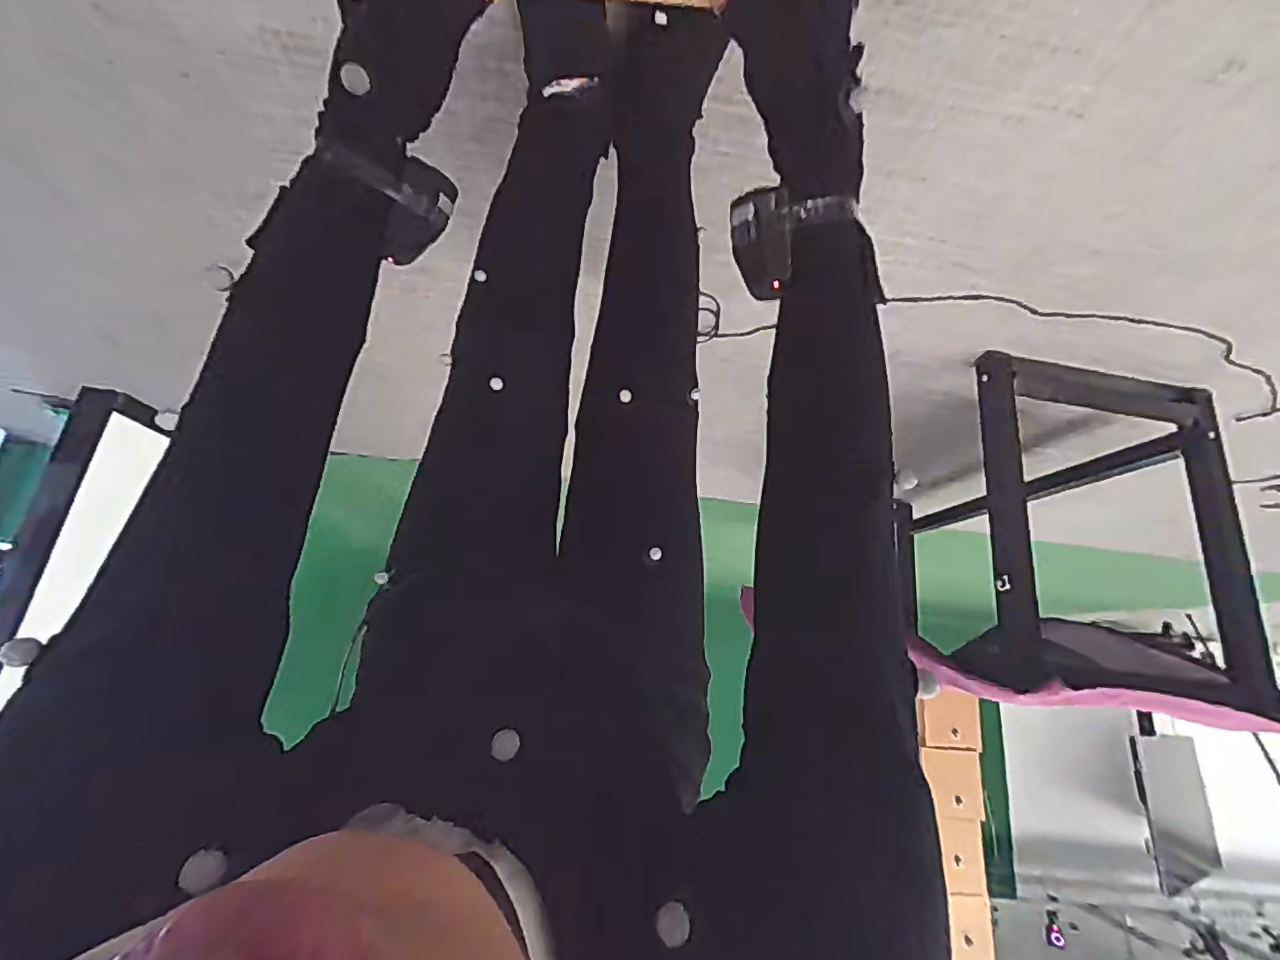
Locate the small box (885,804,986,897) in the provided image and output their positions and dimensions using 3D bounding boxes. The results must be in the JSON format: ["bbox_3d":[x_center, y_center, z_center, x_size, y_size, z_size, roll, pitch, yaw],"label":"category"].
[{"bbox_3d":[0.778,0.978,1.442,0.179,0.176,0.168,8,162,-9],"label":"small box"}]

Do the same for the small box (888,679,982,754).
[{"bbox_3d":[0.837,0.672,1.547,0.179,0.176,0.168,10,161,-9],"label":"small box"}]

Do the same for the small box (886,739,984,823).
[{"bbox_3d":[0.805,0.823,1.490,0.179,0.176,0.168,9,161,-8],"label":"small box"}]

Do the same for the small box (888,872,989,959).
[{"bbox_3d":[0.766,1.133,1.392,0.179,0.176,0.168,9,161,-10],"label":"small box"}]
